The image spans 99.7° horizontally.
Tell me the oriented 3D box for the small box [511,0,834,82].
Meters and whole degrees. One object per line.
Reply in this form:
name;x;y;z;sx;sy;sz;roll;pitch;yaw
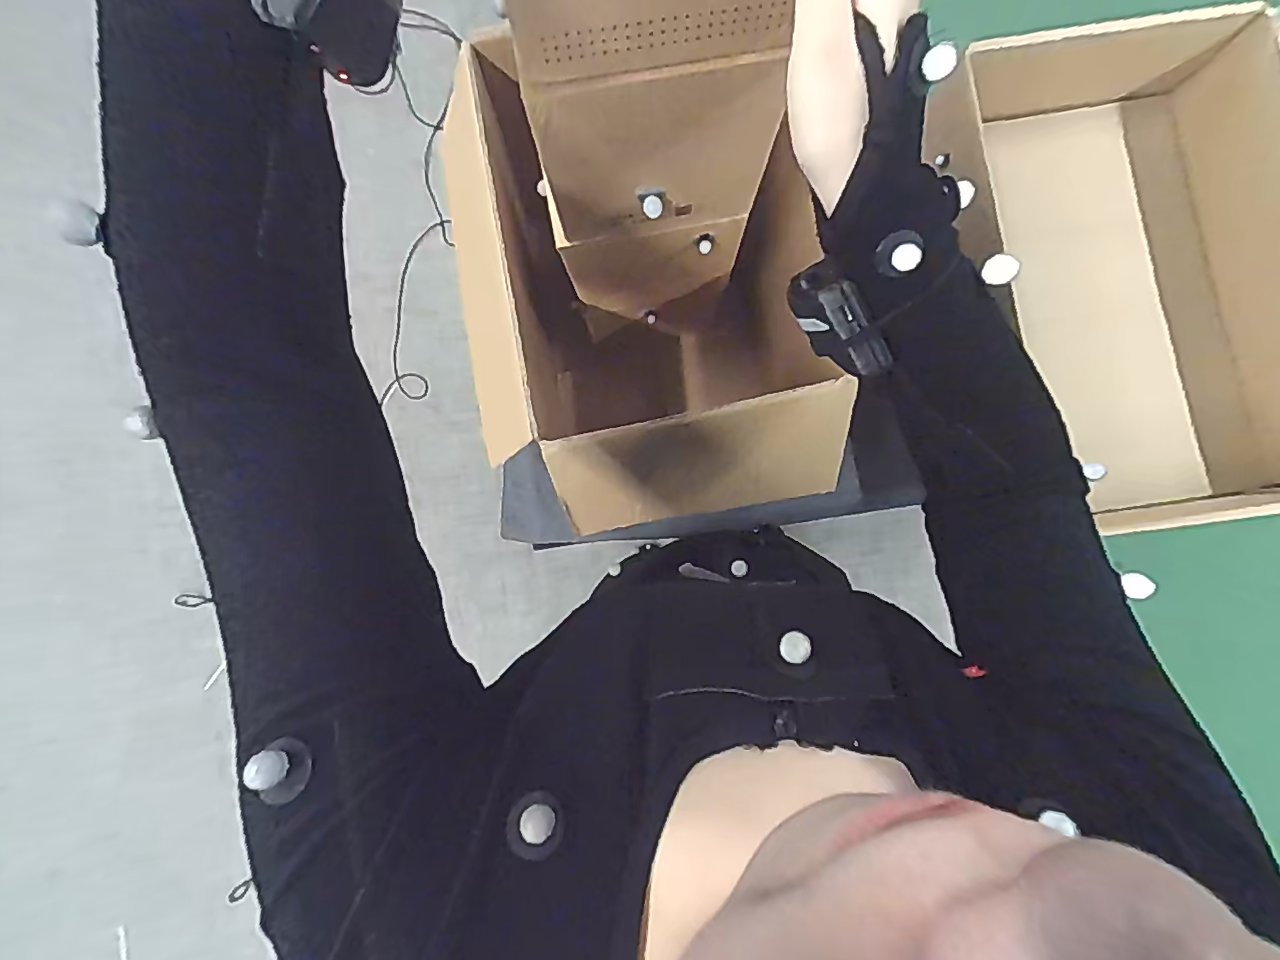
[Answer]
small box;0.009;-0.318;0.235;0.179;0.176;0.168;-9;88;2

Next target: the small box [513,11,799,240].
small box;0.002;-0.309;0.398;0.168;0.176;0.179;-9;88;1
